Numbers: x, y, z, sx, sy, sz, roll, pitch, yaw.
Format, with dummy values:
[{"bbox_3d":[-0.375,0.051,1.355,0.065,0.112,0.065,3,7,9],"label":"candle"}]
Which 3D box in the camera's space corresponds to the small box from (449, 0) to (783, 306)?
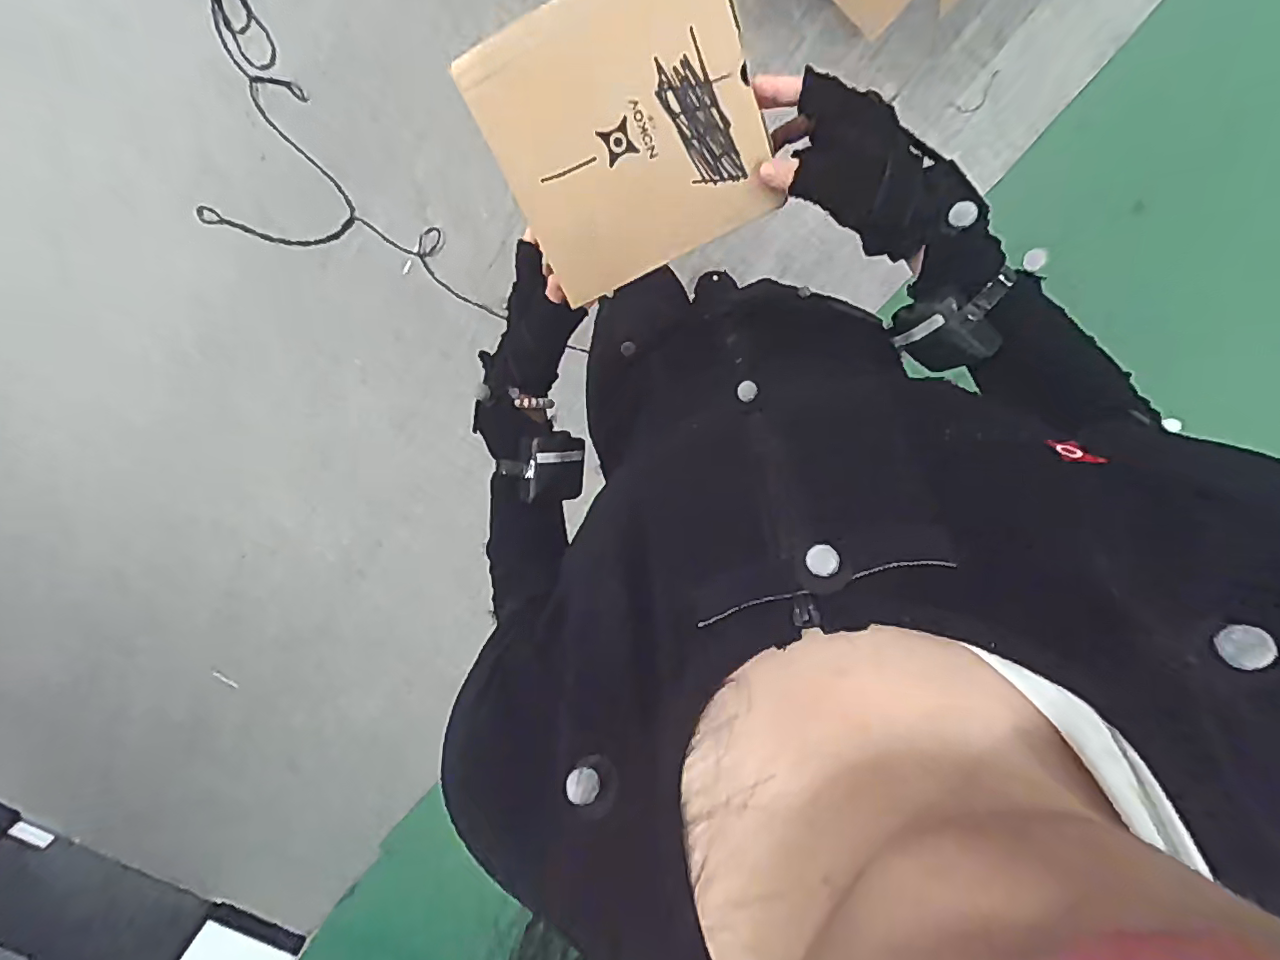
[{"bbox_3d":[-0.015,-0.265,0.422,0.179,0.176,0.168,-23,120,8],"label":"small box"}]
